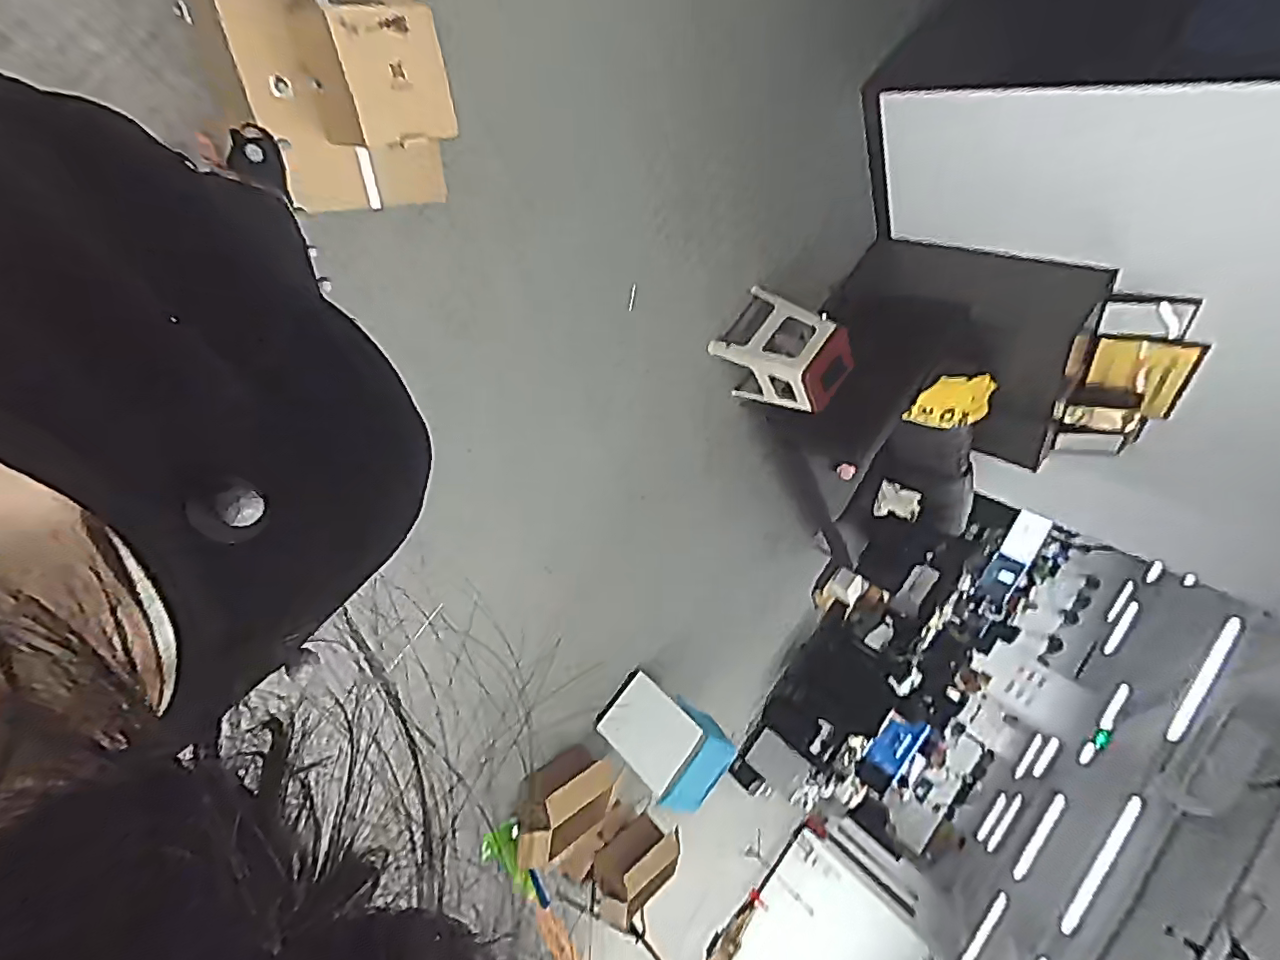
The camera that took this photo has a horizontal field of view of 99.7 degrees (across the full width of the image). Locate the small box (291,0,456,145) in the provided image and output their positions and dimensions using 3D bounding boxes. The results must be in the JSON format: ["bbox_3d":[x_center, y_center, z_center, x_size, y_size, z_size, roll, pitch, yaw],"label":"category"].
[{"bbox_3d":[-0.435,-0.670,0.893,0.168,0.176,0.179,-32,137,-32],"label":"small box"}]
